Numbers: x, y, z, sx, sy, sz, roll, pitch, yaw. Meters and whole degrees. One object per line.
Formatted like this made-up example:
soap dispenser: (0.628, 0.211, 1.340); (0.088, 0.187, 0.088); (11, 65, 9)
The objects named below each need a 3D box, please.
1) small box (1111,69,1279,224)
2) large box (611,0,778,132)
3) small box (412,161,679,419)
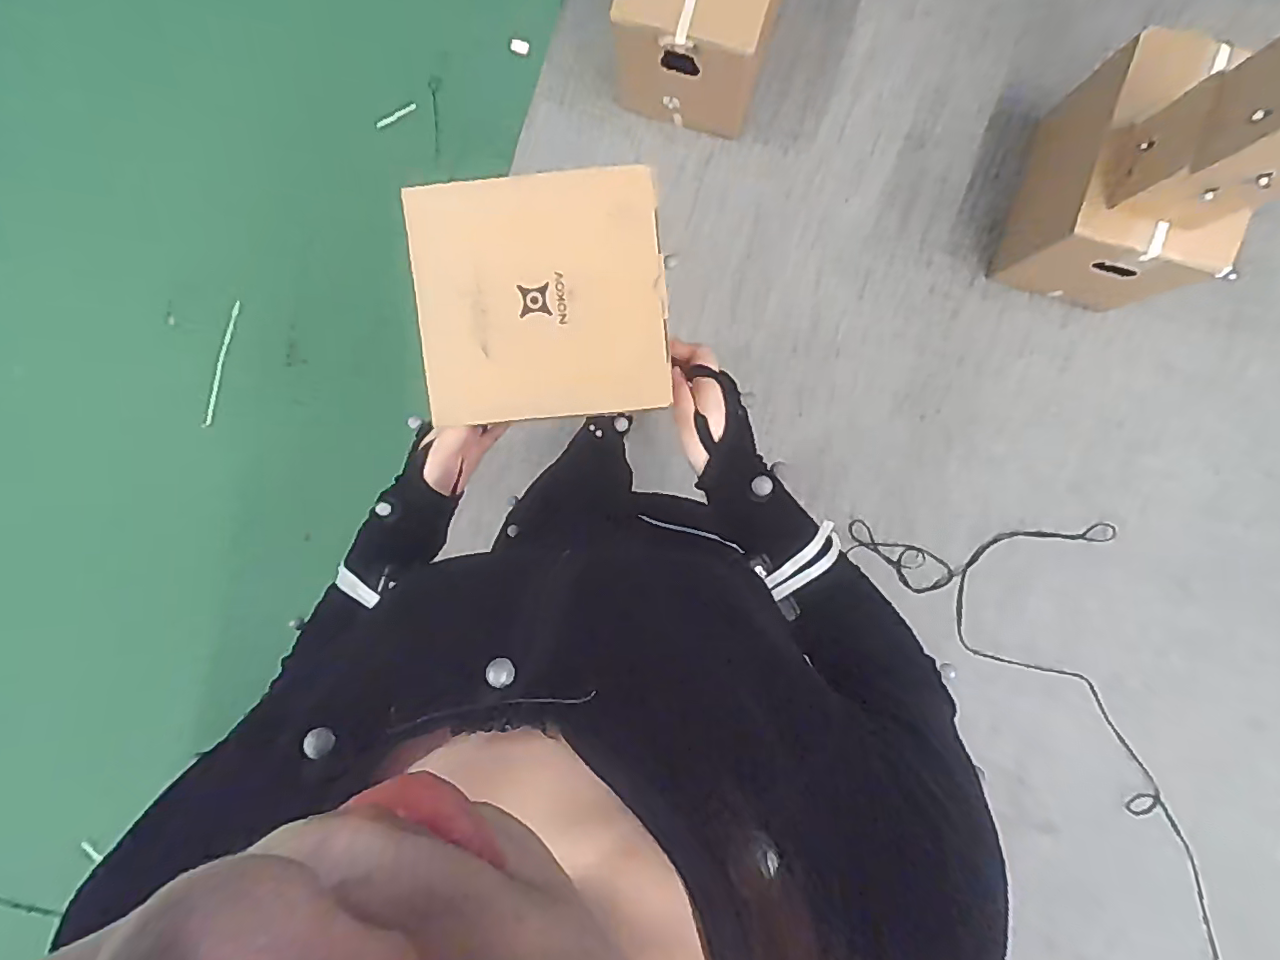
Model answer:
small box: (1.021, -0.584, 0.972); (0.179, 0.176, 0.168); (15, 96, 4)
large box: (0.150, -1.105, 1.229); (0.320, 0.320, 0.408); (17, 95, 3)
small box: (-0.064, -0.142, 0.457); (0.179, 0.176, 0.168); (-4, 98, 2)
